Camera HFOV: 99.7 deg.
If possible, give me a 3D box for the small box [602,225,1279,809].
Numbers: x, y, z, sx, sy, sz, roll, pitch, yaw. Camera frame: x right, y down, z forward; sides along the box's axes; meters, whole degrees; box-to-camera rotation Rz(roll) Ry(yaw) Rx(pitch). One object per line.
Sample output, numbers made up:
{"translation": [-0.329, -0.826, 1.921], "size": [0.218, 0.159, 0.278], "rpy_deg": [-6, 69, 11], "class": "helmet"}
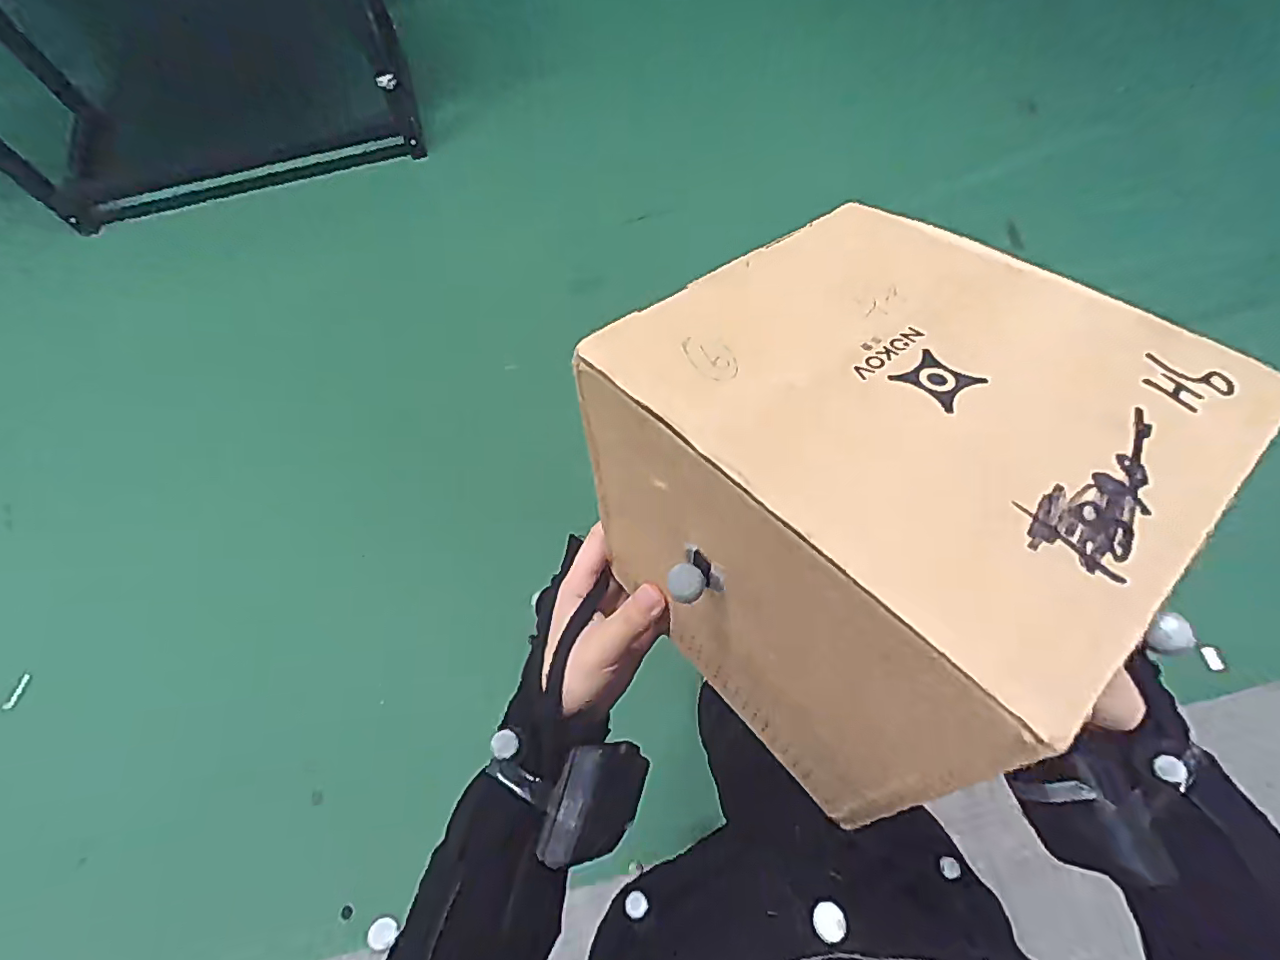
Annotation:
{"translation": [0.103, 0.016, 0.254], "size": [0.168, 0.176, 0.179], "rpy_deg": [-35, 57, -22], "class": "small box"}
